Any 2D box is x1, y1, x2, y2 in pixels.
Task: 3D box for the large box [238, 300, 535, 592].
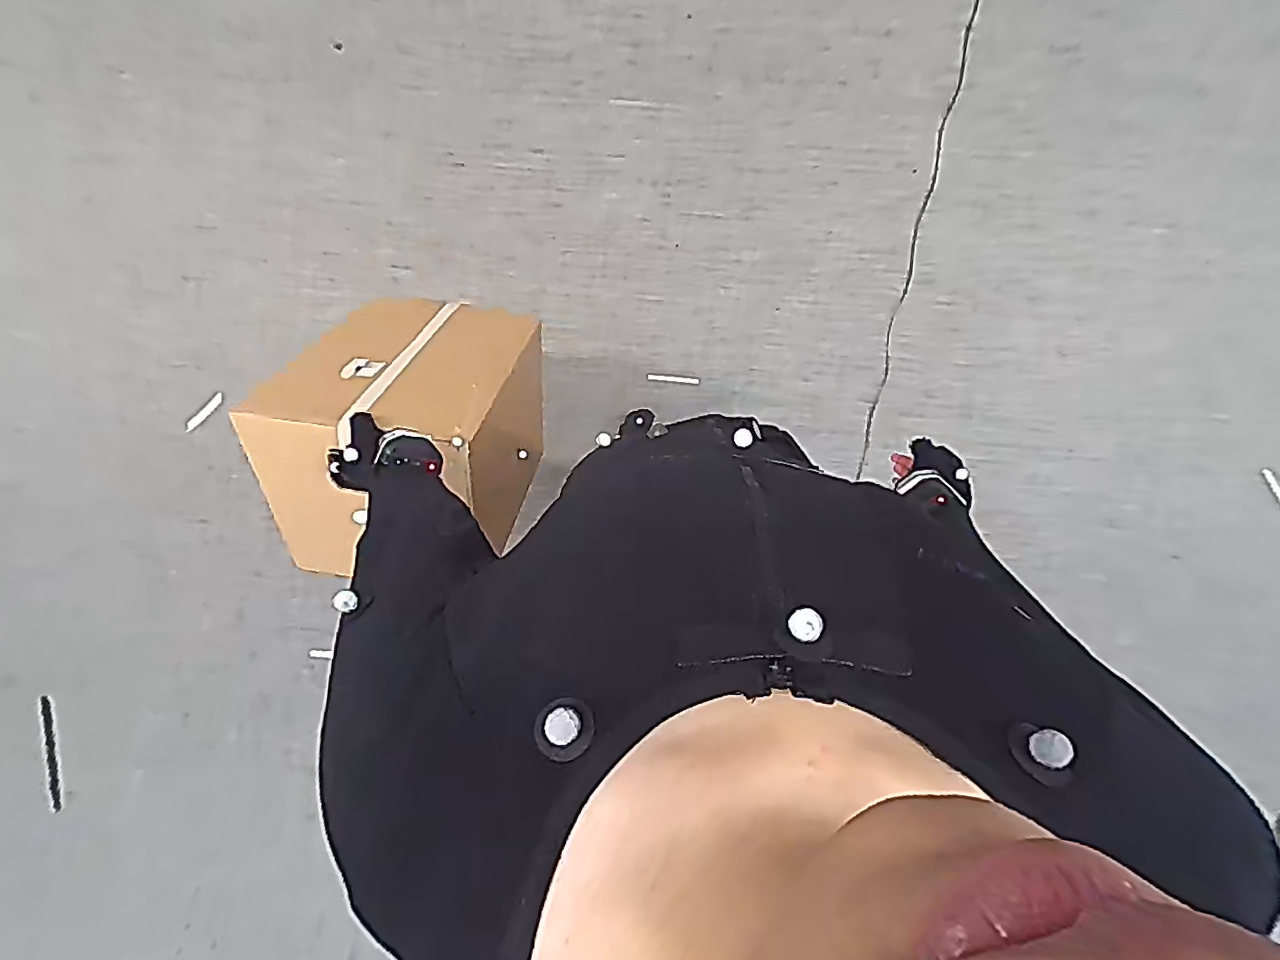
[{"bbox_3d":[-0.378,-0.072,0.952,0.320,0.408,0.320,8,131,1],"label":"large box"}]
